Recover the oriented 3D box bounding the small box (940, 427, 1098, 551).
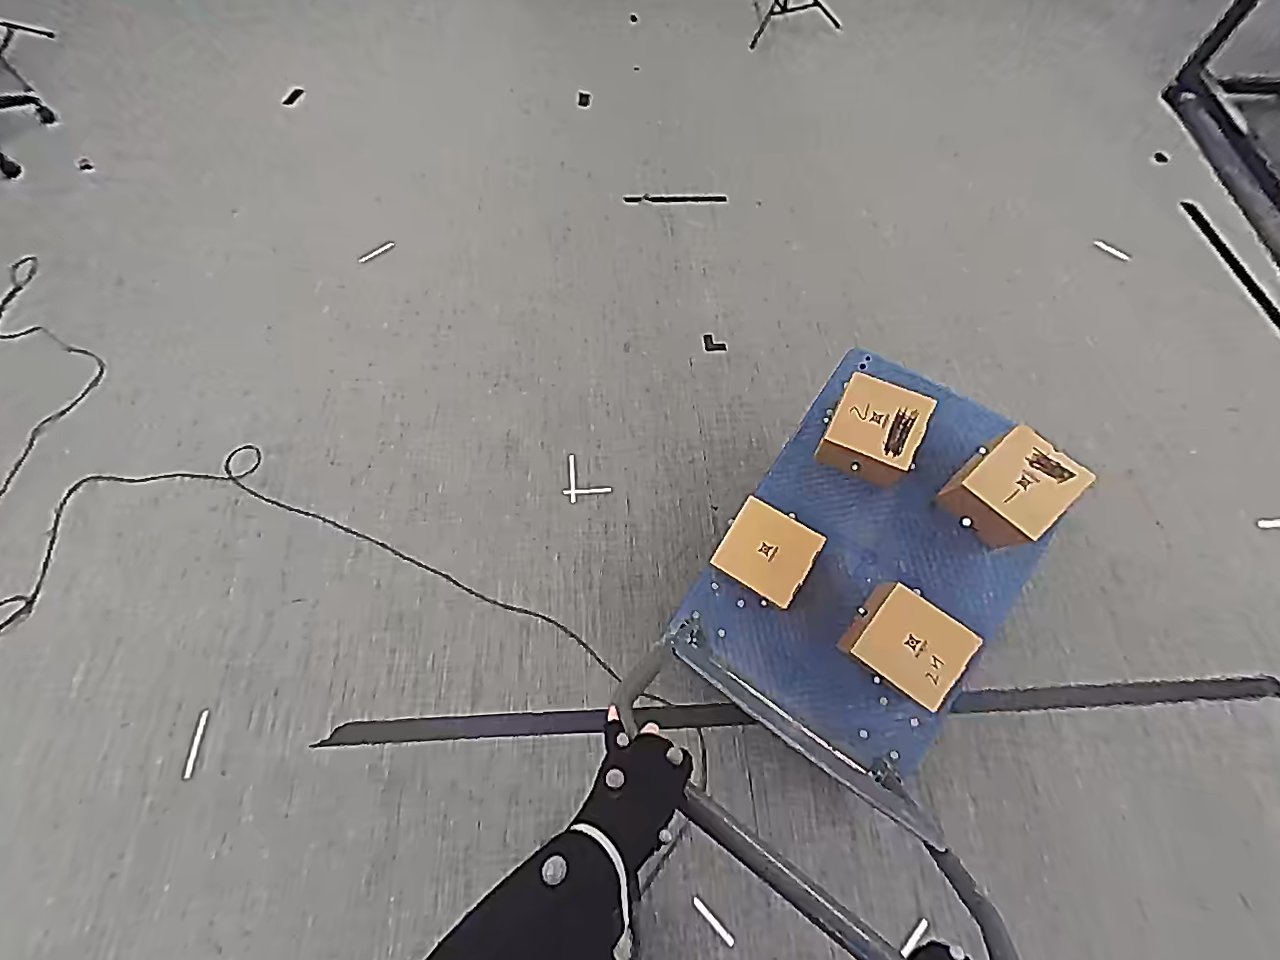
[{"bbox_3d":[0.759,0.027,1.109,0.179,0.176,0.168,-44,74,-2],"label":"small box"}]

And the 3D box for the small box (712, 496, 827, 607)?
[{"bbox_3d":[0.270,0.160,1.161,0.179,0.176,0.168,32,84,14],"label":"small box"}]

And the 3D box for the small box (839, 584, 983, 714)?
[{"bbox_3d":[0.523,0.330,1.076,0.179,0.176,0.168,37,85,16],"label":"small box"}]
